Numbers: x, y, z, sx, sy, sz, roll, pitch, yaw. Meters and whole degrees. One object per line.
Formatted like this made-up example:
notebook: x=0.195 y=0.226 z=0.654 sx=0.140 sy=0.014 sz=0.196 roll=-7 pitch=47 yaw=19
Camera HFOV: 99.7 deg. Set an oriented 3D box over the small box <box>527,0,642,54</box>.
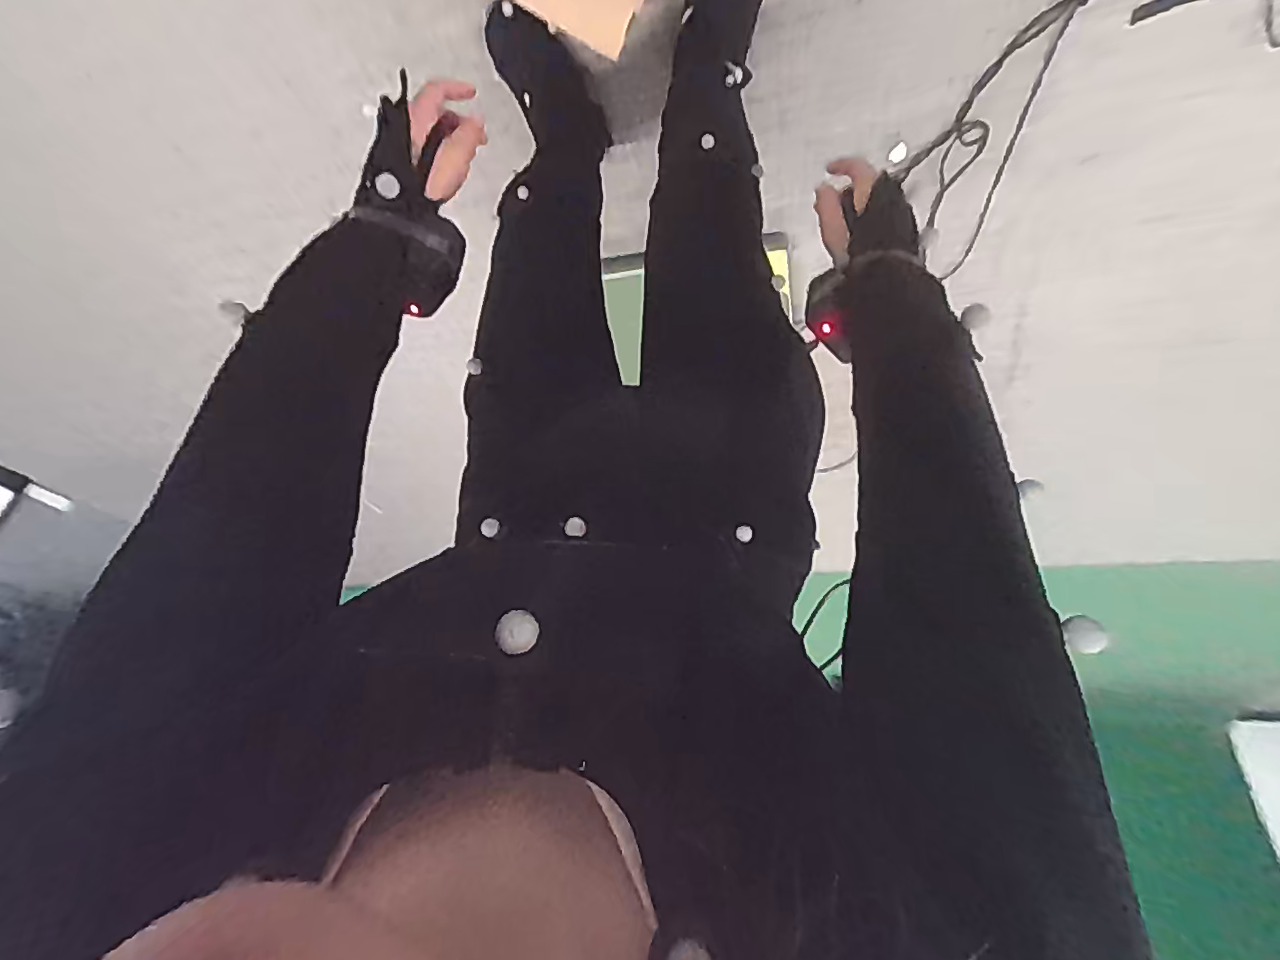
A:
small box: x=-0.062 y=-0.681 z=0.651 sx=0.179 sy=0.176 sz=0.168 roll=18 pitch=148 yaw=-20
